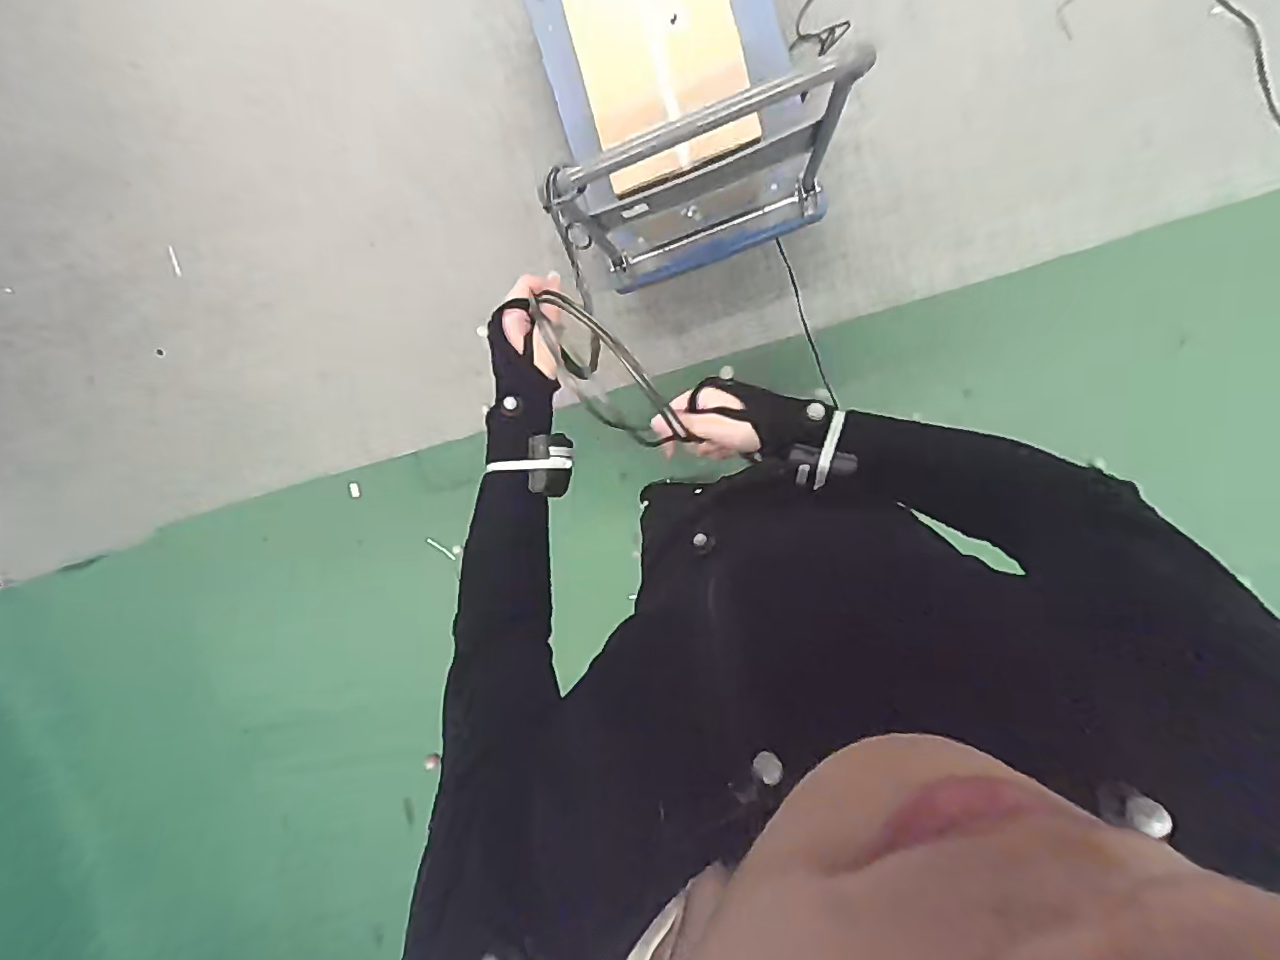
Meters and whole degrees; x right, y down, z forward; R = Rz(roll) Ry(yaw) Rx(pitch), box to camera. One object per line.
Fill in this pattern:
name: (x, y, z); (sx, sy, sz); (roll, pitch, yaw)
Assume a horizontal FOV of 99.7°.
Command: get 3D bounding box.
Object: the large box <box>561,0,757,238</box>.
large box: (0.065, -0.840, 1.227); (0.320, 0.320, 0.408); (-15, 94, 12)
